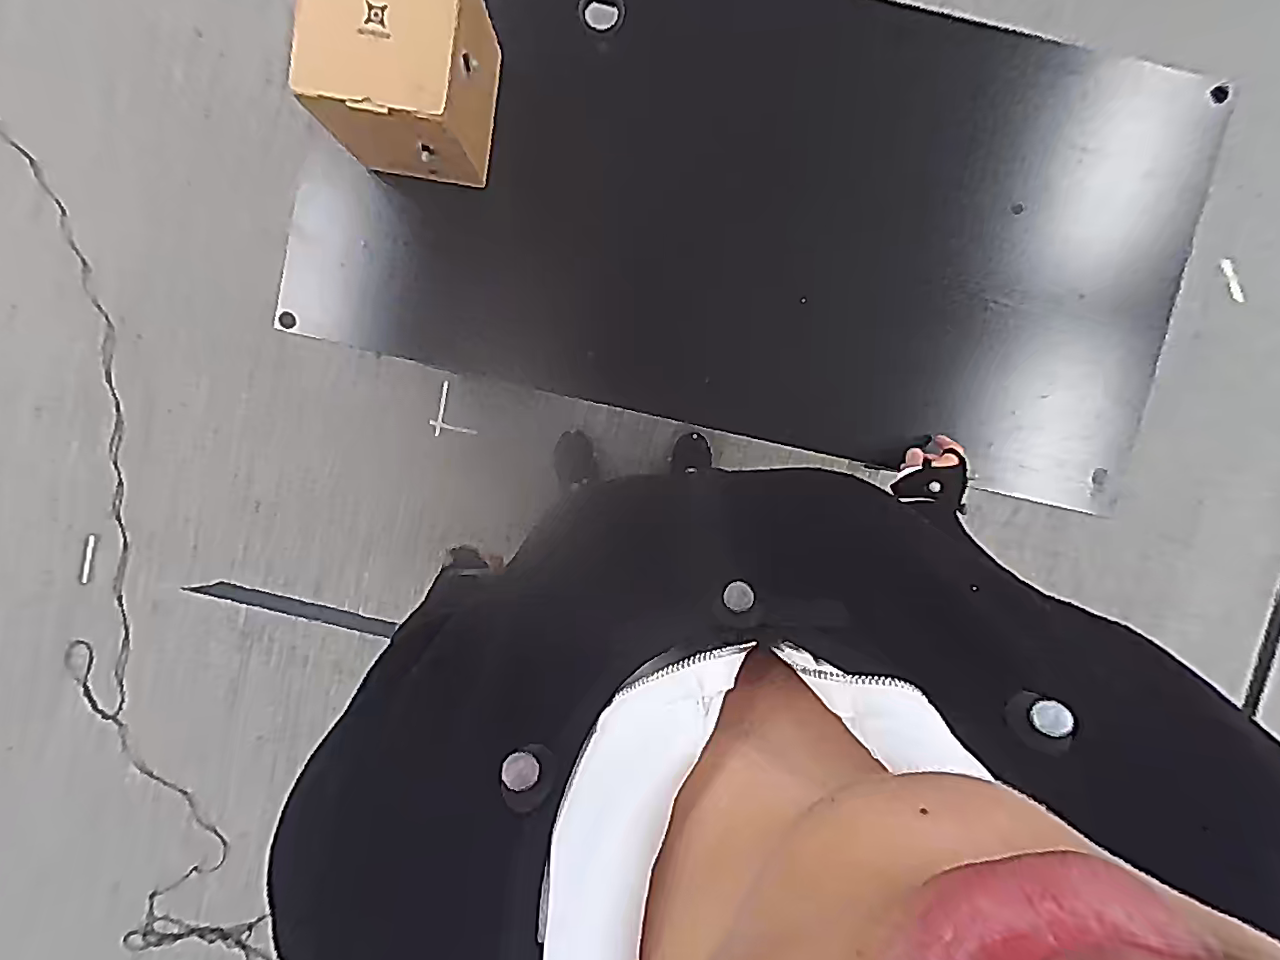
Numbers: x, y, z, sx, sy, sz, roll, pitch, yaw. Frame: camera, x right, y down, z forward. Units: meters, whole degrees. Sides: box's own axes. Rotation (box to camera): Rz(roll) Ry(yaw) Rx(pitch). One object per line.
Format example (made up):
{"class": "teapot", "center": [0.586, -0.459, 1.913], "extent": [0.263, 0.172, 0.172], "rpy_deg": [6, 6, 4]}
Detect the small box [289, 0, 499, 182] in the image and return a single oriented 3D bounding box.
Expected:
{"class": "small box", "center": [-0.272, -0.482, 0.633], "extent": [0.168, 0.176, 0.179], "rpy_deg": [8, 94, -3]}
